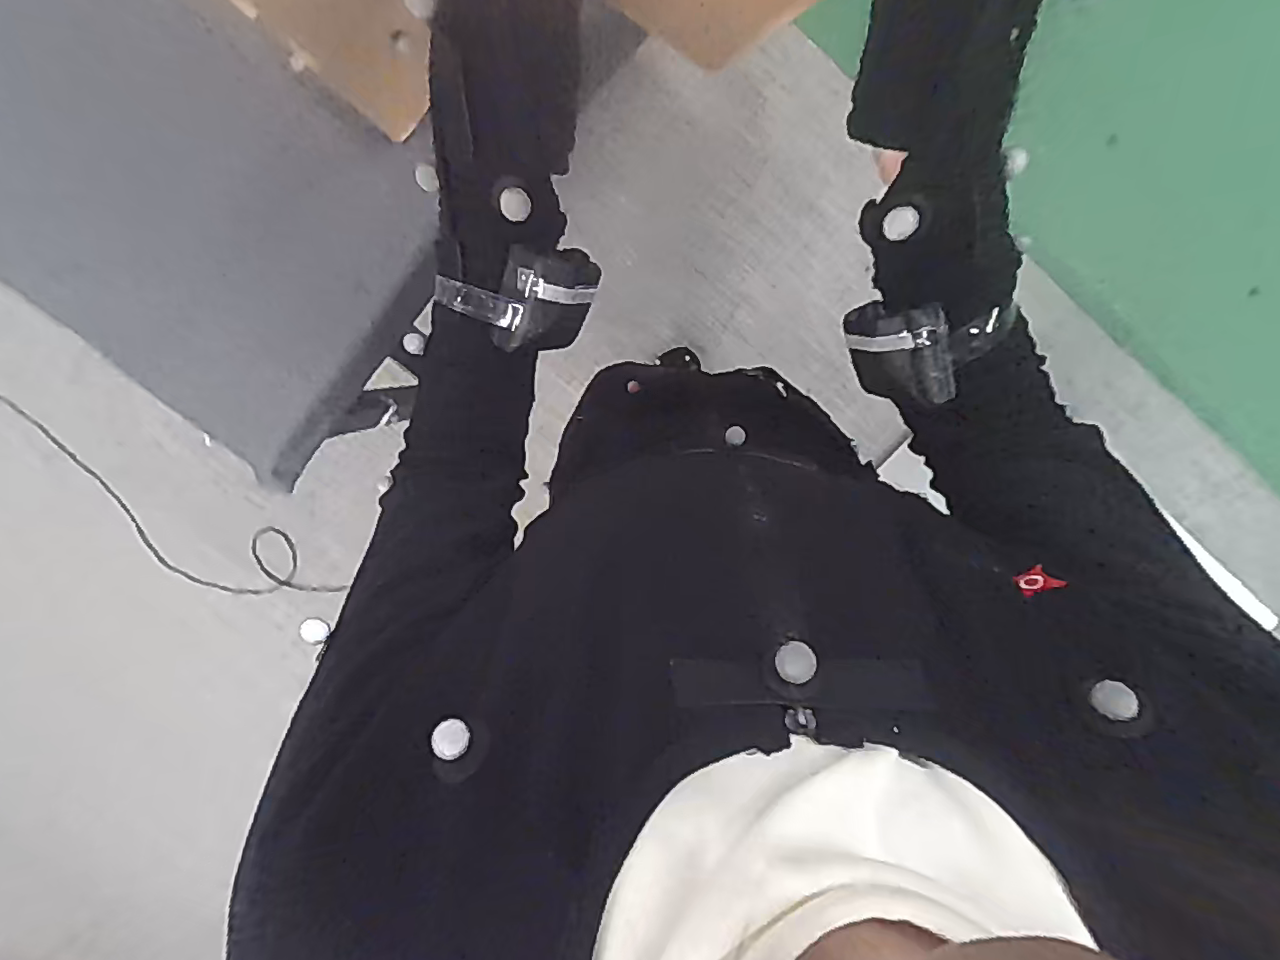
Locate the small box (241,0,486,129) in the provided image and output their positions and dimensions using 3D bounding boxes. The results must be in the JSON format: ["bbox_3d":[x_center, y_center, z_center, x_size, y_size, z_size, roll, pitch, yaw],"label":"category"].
[{"bbox_3d":[-0.277,-0.489,0.517,0.168,0.176,0.179,43,102,-6],"label":"small box"}]
